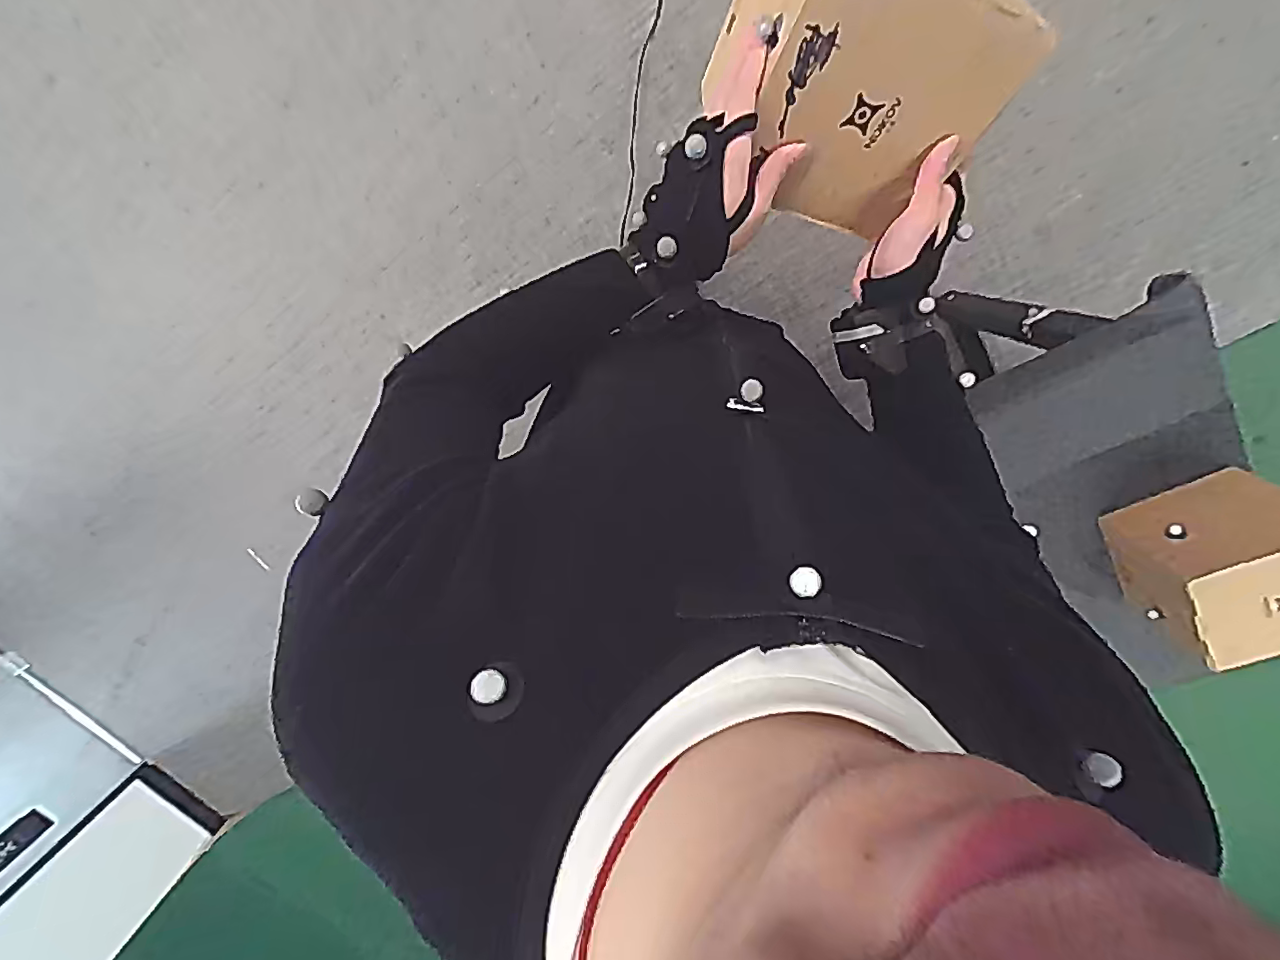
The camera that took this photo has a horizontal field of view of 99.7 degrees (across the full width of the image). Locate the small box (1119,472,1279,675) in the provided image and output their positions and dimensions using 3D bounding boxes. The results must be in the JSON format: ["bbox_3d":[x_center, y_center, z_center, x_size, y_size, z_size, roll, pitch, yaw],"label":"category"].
[{"bbox_3d":[0.785,0.117,0.715,0.179,0.176,0.168,-26,110,17],"label":"small box"}]

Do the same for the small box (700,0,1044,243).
[{"bbox_3d":[0.164,-0.335,0.443,0.179,0.176,0.168,9,146,-17],"label":"small box"}]
